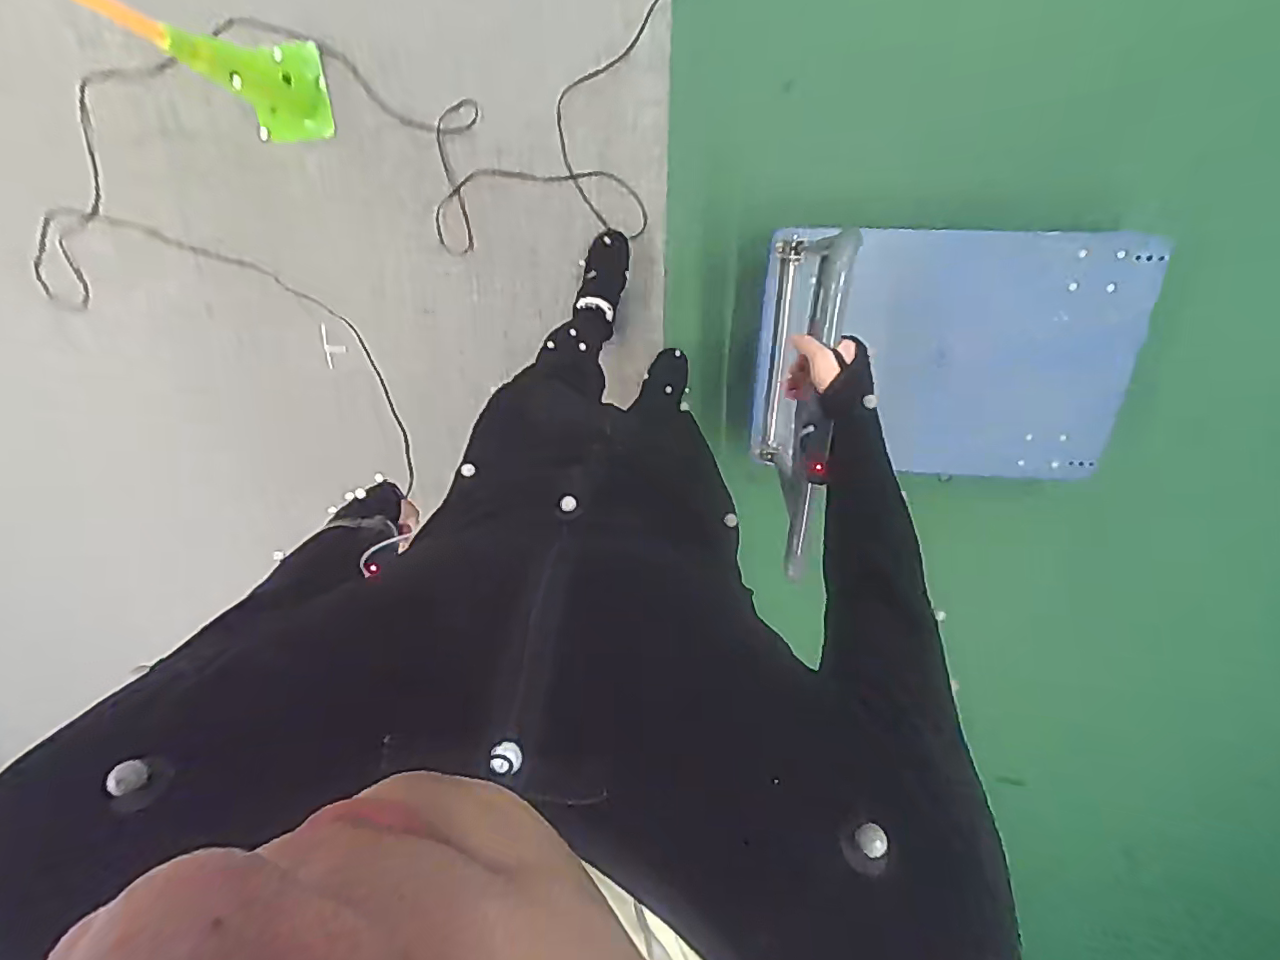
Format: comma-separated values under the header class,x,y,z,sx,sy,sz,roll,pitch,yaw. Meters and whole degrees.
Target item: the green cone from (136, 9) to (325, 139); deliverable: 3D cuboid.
class,x,y,z,sx,sy,sz,roll,pitch,yaw
green cone,-0.901,-0.907,1.174,0.200,0.368,0.202,-2,109,5
